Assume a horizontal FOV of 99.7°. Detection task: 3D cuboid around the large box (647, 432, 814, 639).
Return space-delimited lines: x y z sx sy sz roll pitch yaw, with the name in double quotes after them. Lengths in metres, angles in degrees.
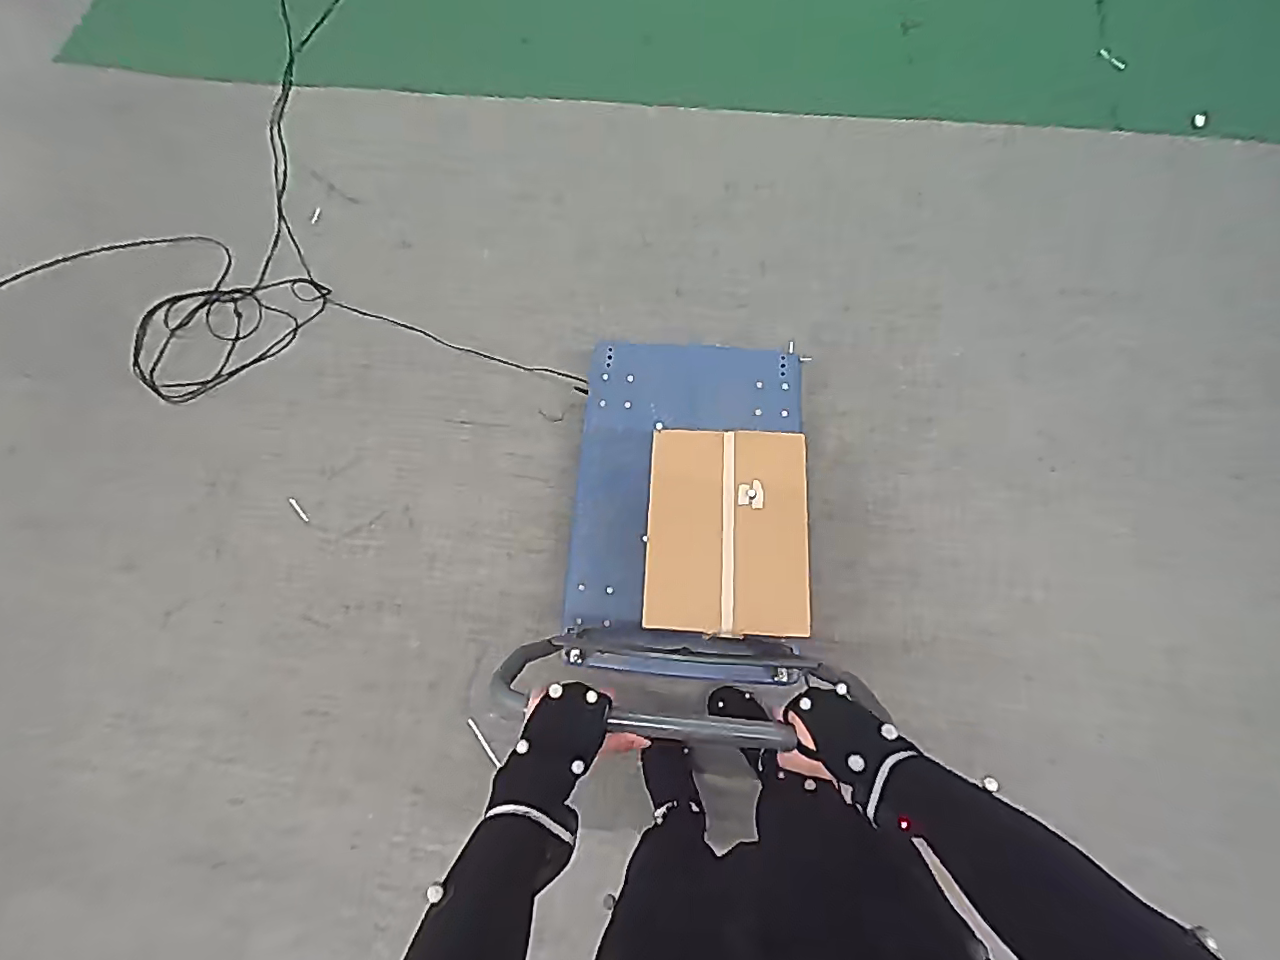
0.187 0.139 1.202 0.320 0.320 0.408 3 73 4 "large box"
